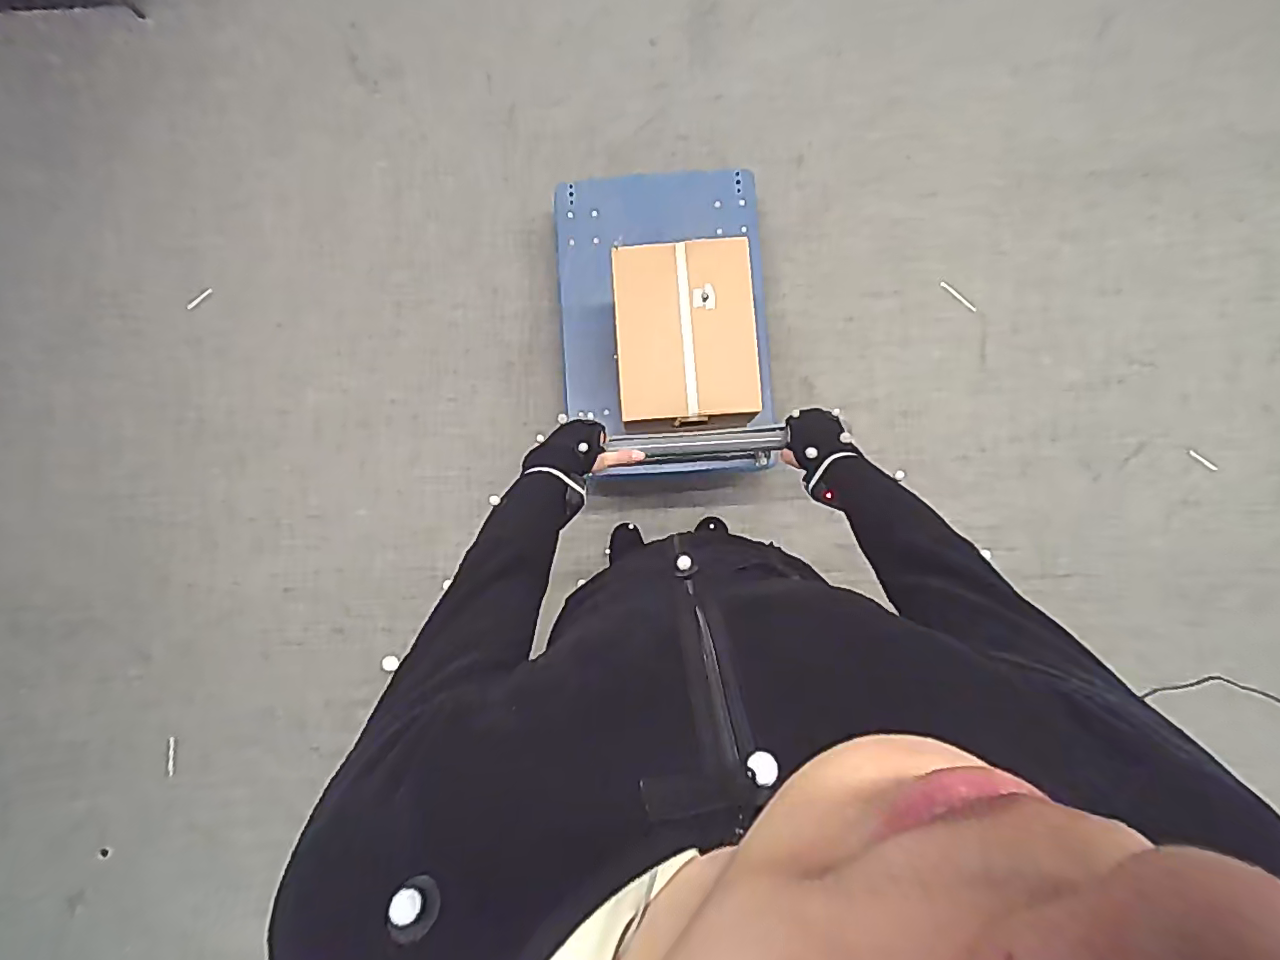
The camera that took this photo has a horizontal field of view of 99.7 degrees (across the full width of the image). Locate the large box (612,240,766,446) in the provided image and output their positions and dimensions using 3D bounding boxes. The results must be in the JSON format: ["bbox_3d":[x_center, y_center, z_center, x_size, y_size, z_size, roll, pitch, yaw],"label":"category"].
[{"bbox_3d":[0.110,-0.316,1.343,0.320,0.320,0.408,-4,84,0],"label":"large box"}]
